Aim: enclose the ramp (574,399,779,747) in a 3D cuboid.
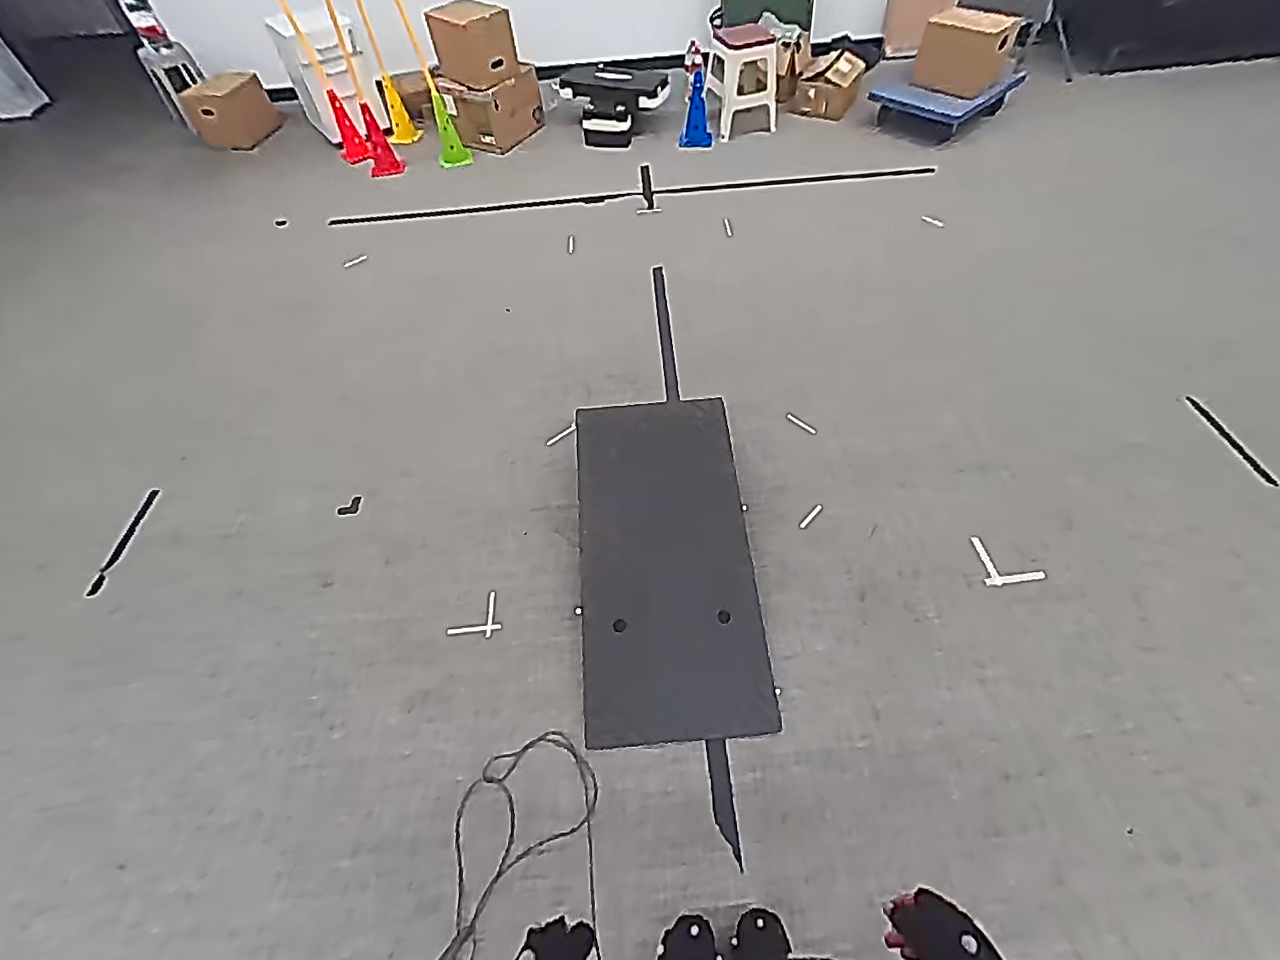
[{"bbox_3d":[0.069,0.199,1.568,0.509,0.206,0.991,-6,53,-2],"label":"ramp"}]
